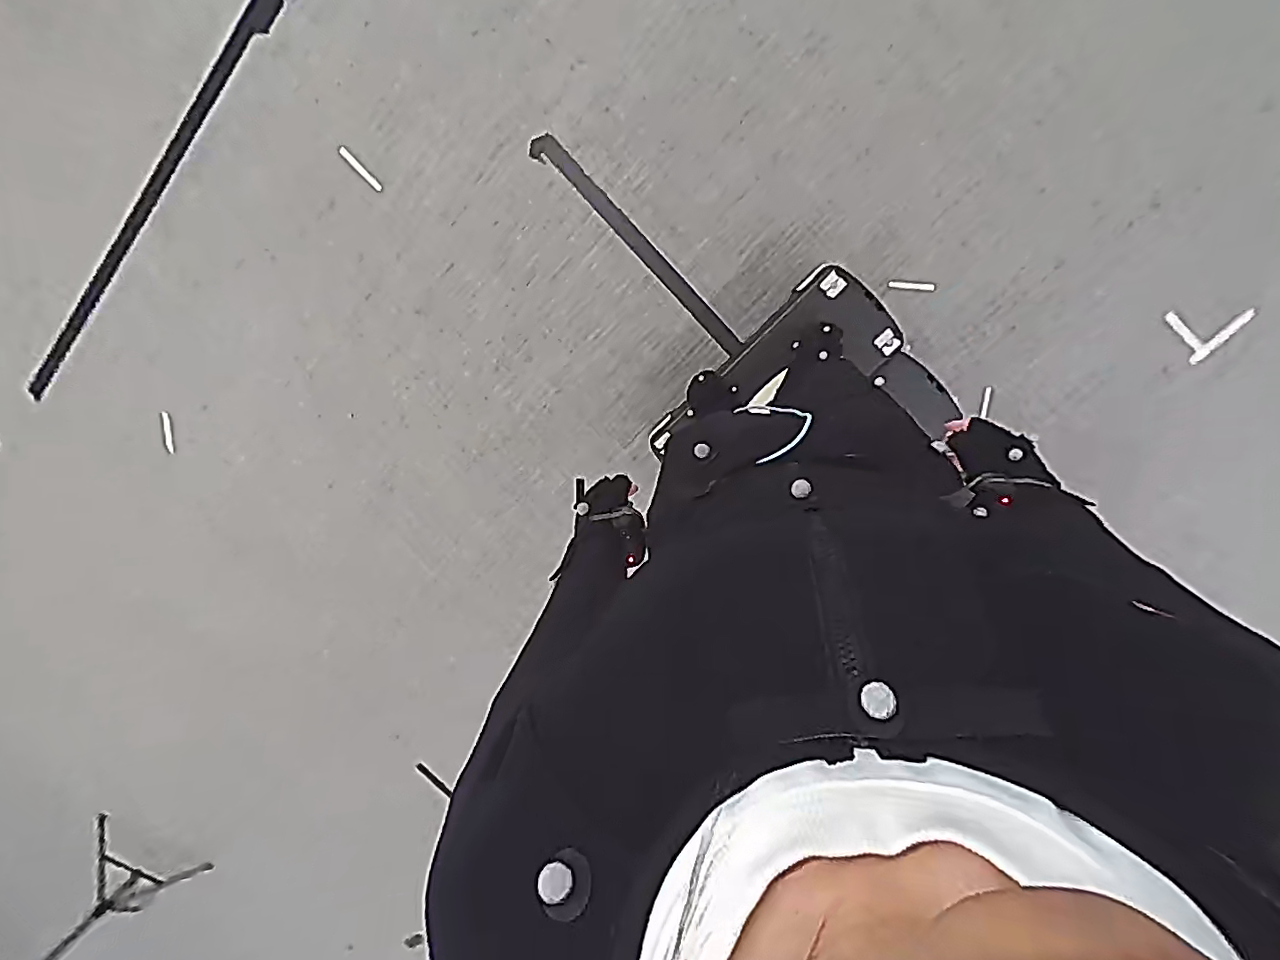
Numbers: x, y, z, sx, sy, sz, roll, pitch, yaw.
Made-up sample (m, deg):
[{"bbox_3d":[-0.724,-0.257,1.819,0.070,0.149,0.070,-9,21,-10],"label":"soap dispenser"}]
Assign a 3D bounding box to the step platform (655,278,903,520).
[{"bbox_3d":[0.357,-0.209,1.477,0.286,0.204,0.684,43,103,-6],"label":"step platform"}]
